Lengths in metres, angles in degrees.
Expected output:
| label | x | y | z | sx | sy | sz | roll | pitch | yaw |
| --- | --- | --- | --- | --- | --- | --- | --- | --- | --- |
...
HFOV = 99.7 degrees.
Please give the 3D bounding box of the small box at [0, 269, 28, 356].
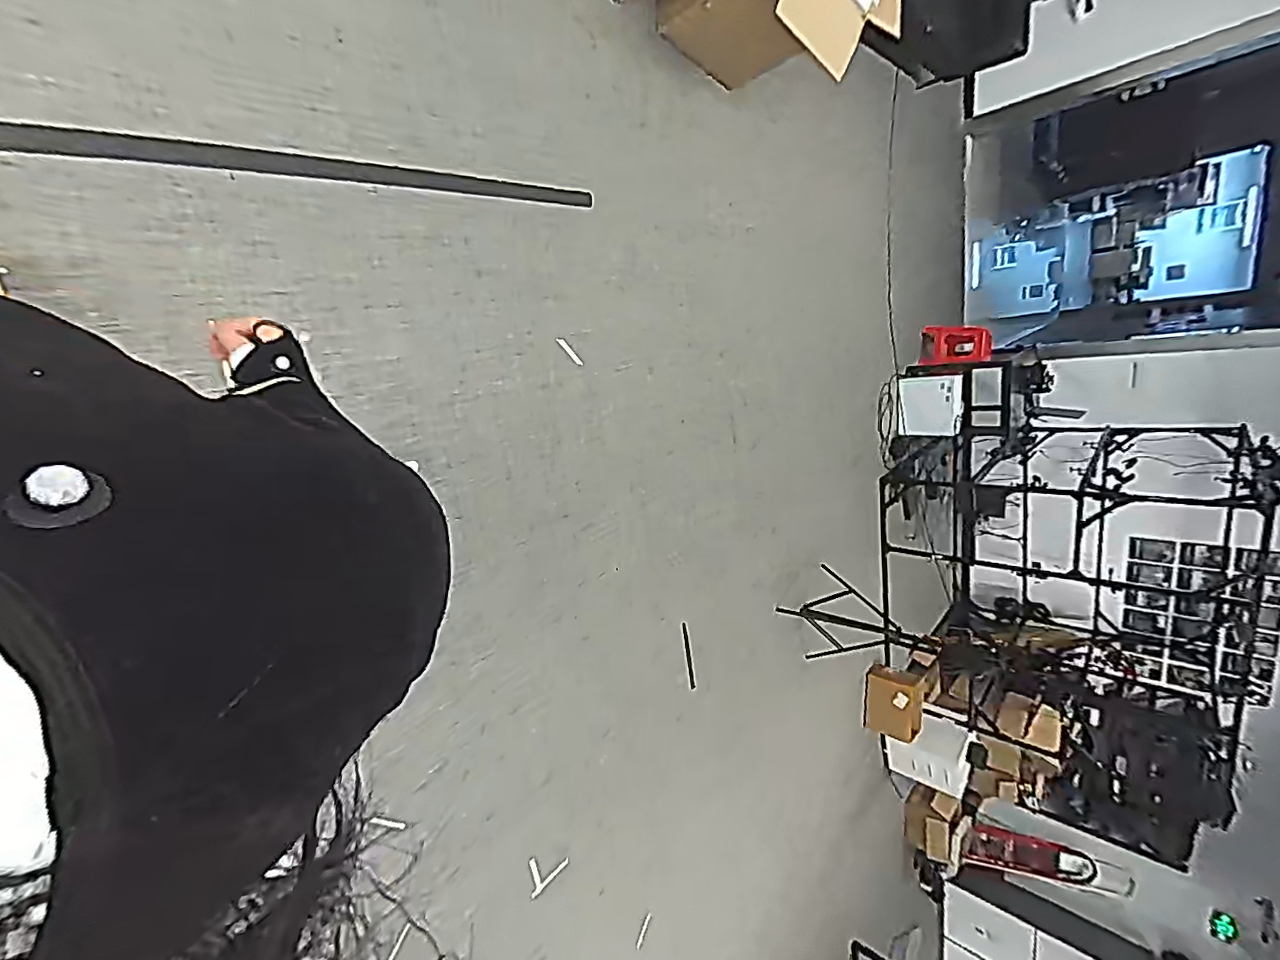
| label | x | y | z | sx | sy | sz | roll | pitch | yaw |
| --- | --- | --- | --- | --- | --- | --- | --- | --- | --- |
| small box | -1.156 | -0.290 | 0.884 | 0.179 | 0.176 | 0.168 | -21 | 108 | -42 |
